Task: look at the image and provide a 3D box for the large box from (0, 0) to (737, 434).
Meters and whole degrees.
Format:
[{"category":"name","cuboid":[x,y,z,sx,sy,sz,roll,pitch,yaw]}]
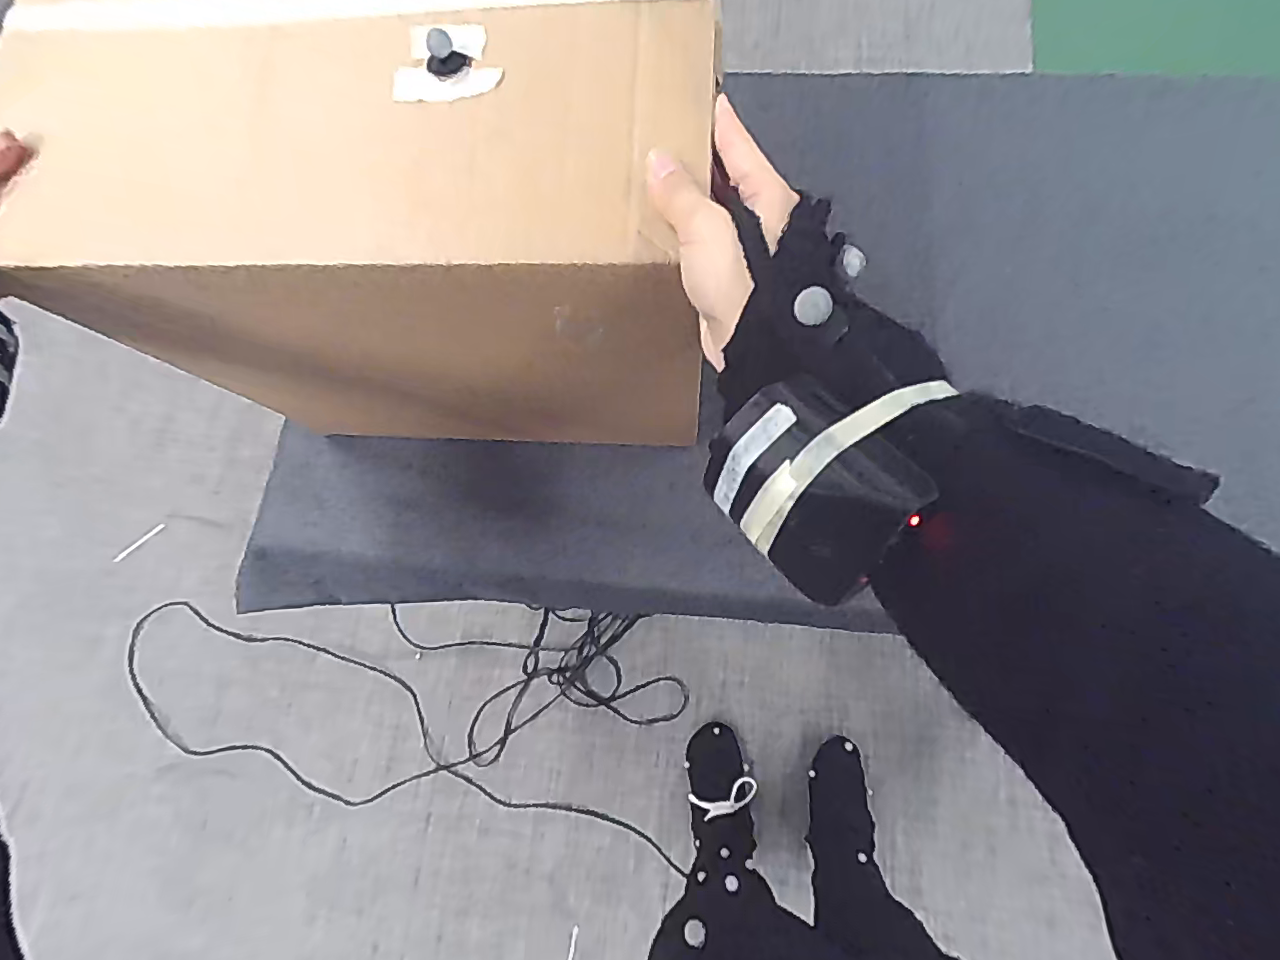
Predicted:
[{"category":"large box","cuboid":[-0.138,-0.228,0.452,0.408,0.320,0.320,2,79,4]}]
